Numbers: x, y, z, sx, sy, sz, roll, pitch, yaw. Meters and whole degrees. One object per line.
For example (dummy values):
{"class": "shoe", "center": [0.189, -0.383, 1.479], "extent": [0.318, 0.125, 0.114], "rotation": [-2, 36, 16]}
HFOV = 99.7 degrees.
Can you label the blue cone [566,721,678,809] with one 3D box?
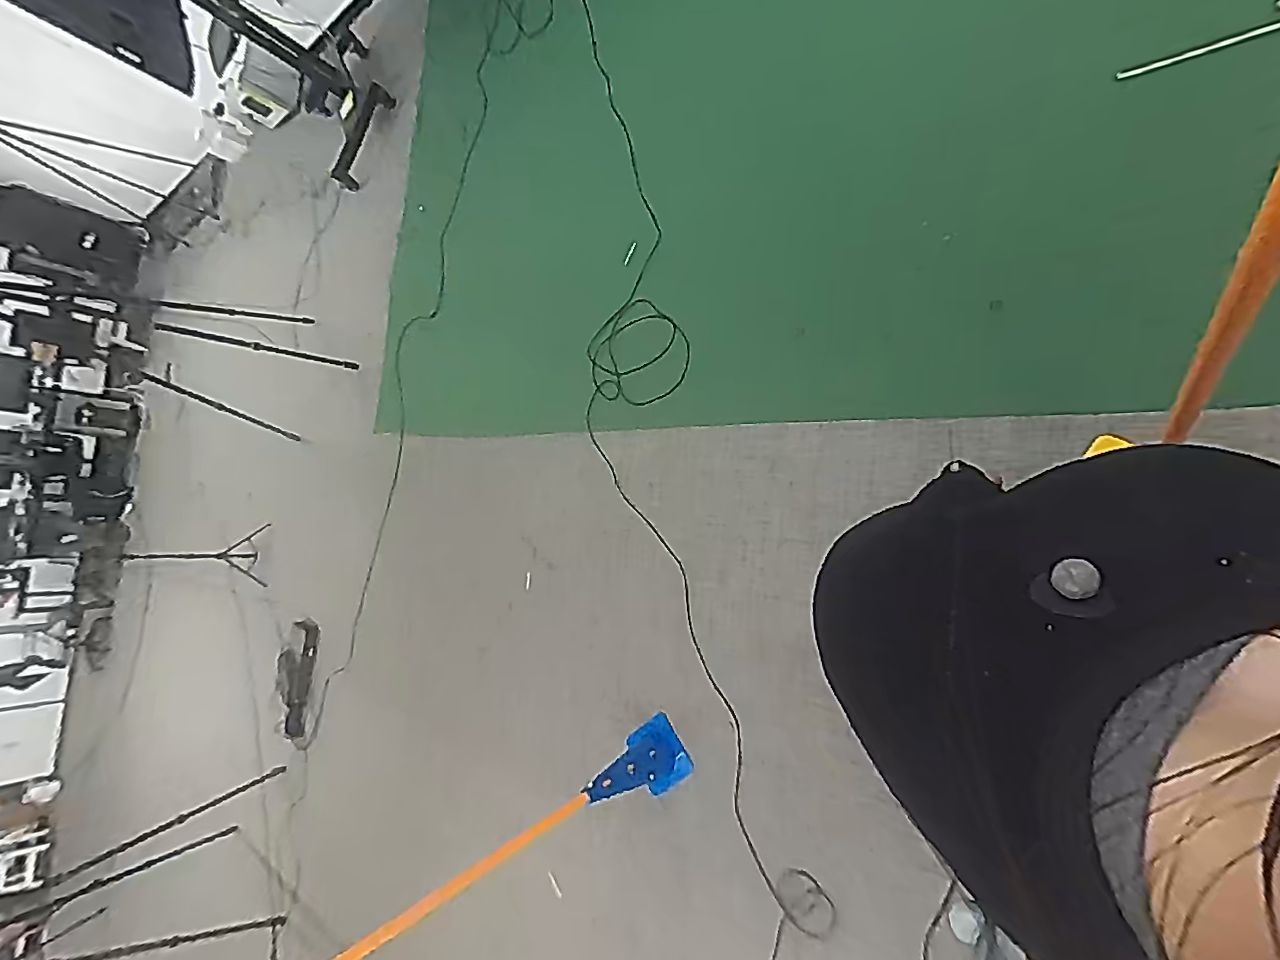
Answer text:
{"class": "blue cone", "center": [-0.072, 0.887, 1.599], "extent": [0.193, 0.380, 0.192], "rotation": [-49, 60, 23]}
